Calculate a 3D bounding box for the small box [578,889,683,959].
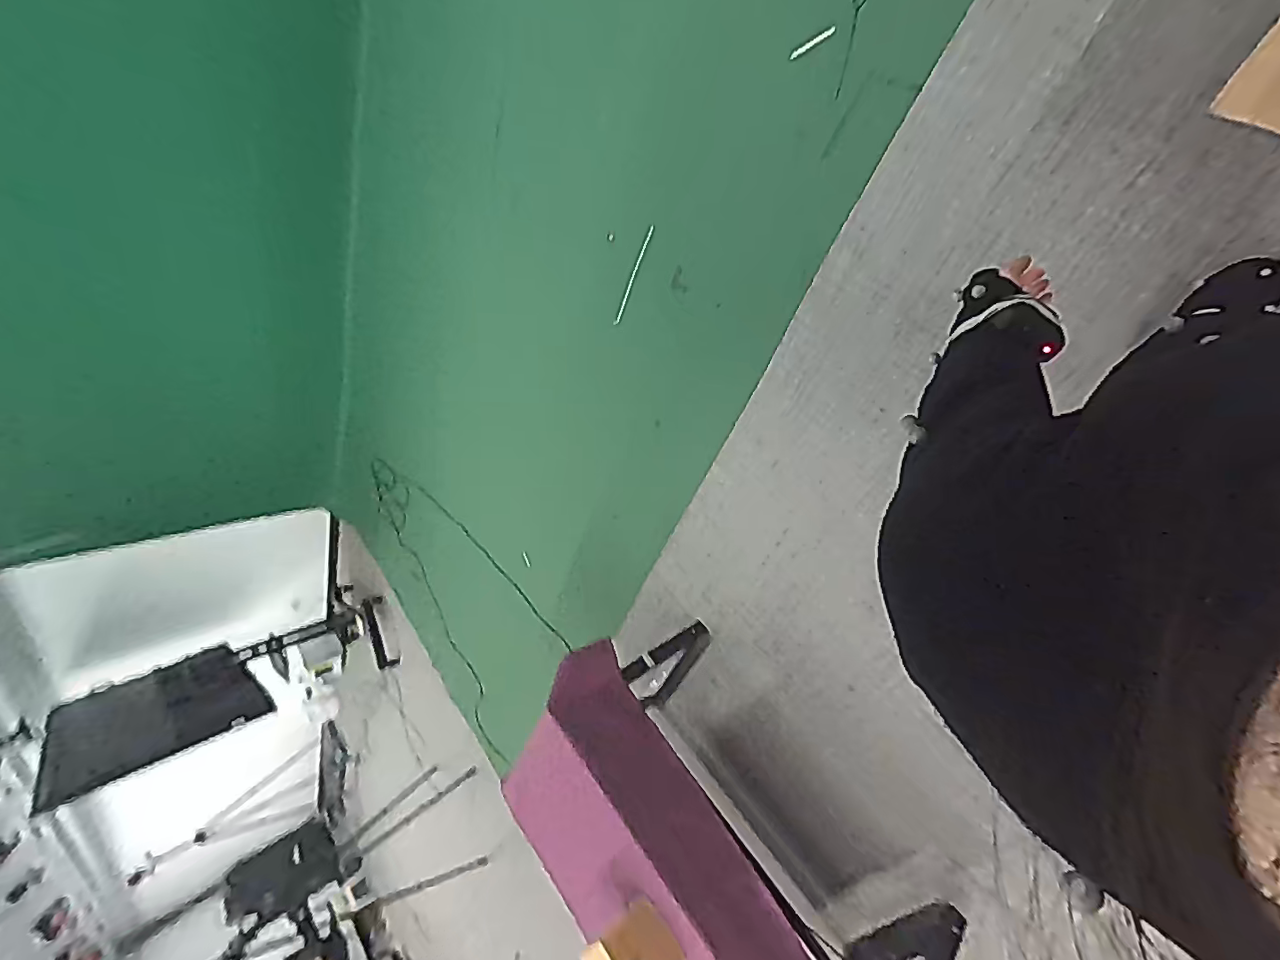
[{"bbox_3d":[-0.023,1.196,1.370,0.179,0.176,0.168,49,130,26],"label":"small box"}]
